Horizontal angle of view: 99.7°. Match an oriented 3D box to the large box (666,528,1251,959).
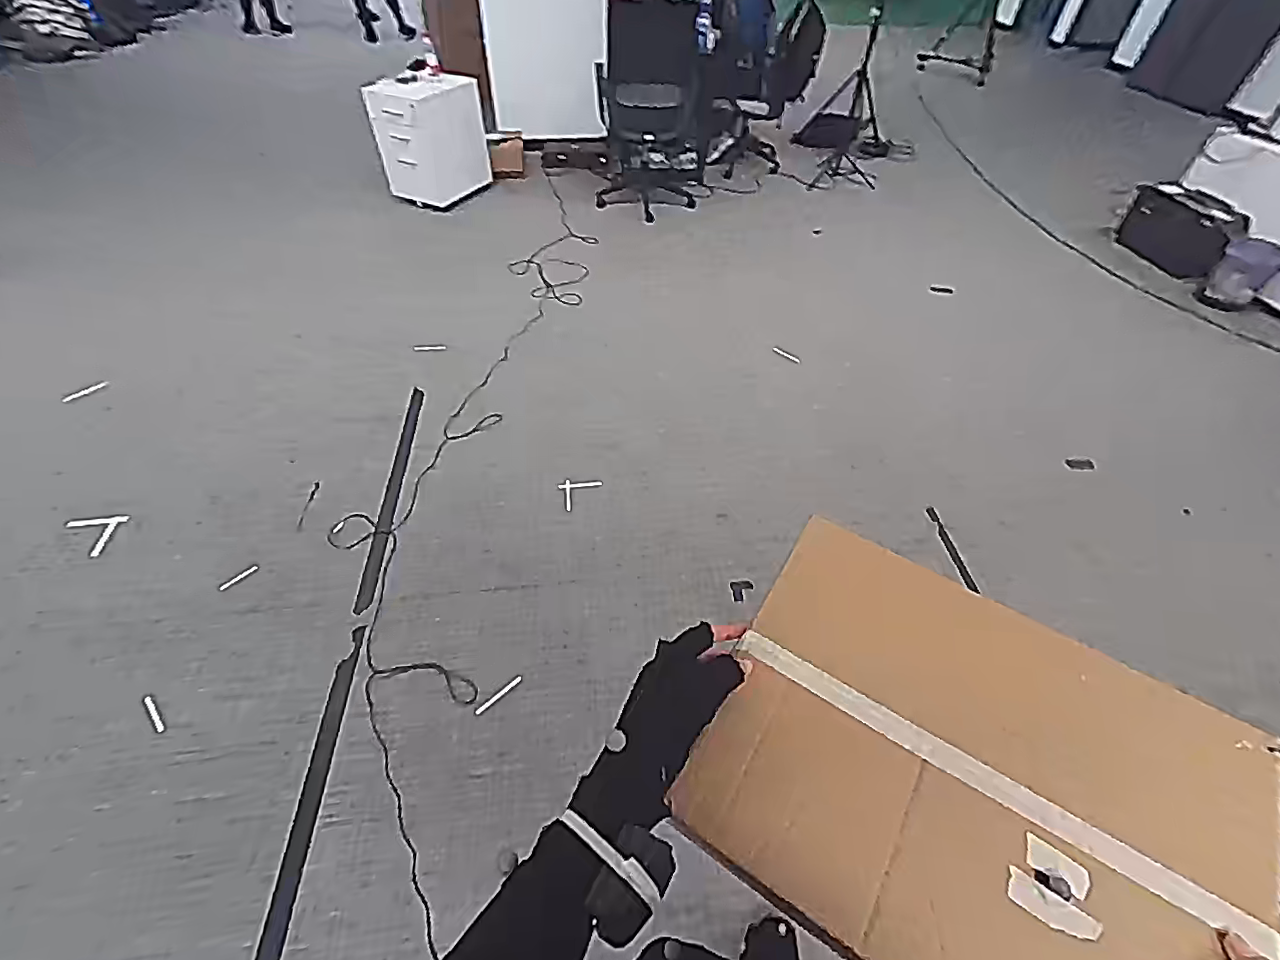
[{"bbox_3d":[0.273,0.322,0.579,0.408,0.320,0.320,27,63,19],"label":"large box"}]
